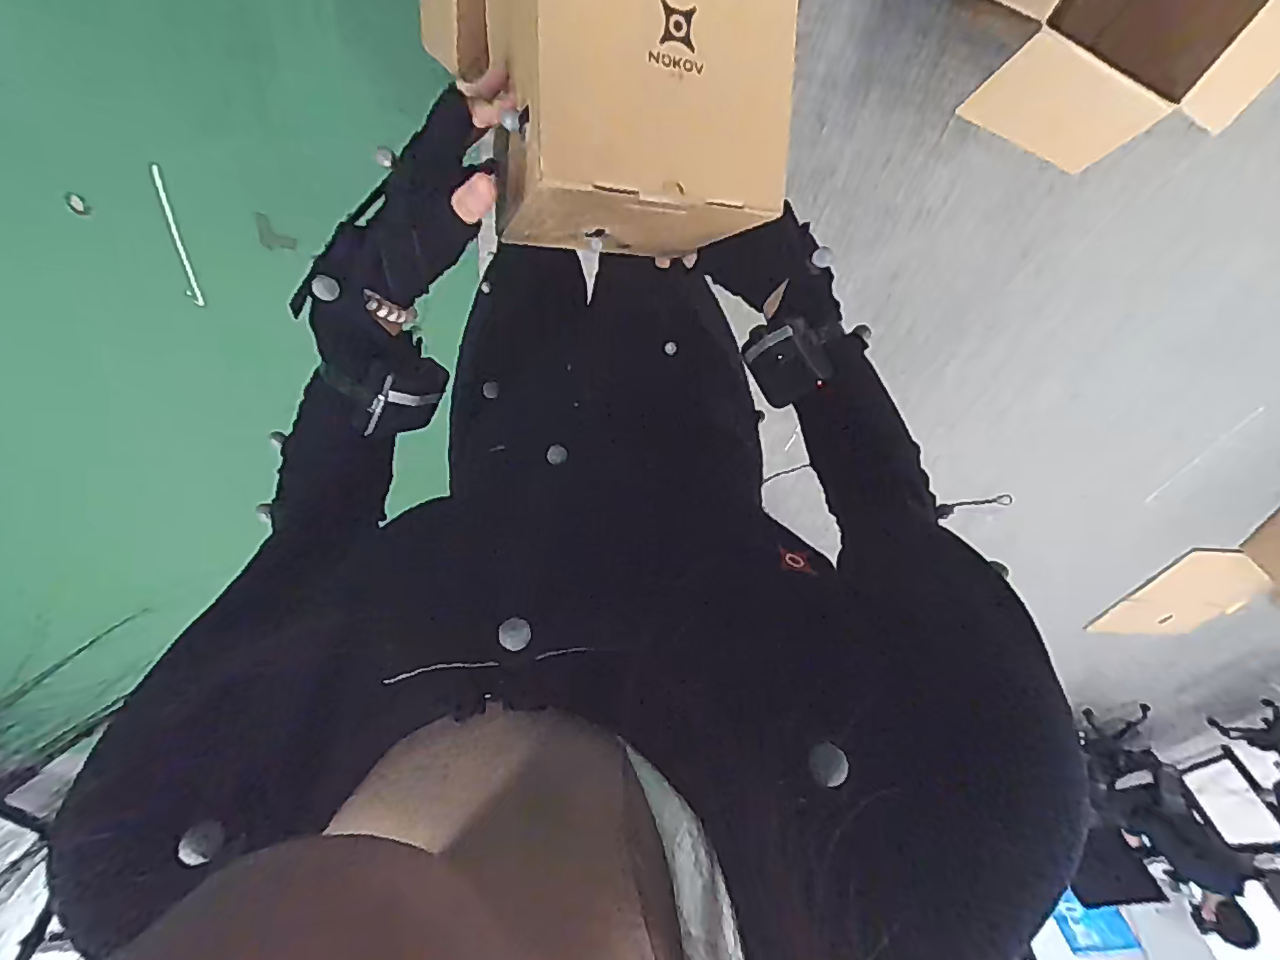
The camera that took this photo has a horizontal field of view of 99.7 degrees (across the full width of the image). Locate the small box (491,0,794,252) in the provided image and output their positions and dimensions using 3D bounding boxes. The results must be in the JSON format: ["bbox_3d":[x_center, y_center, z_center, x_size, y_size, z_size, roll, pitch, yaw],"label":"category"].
[{"bbox_3d":[-0.011,-0.277,0.392,0.168,0.176,0.179,-5,105,-23],"label":"small box"}]
